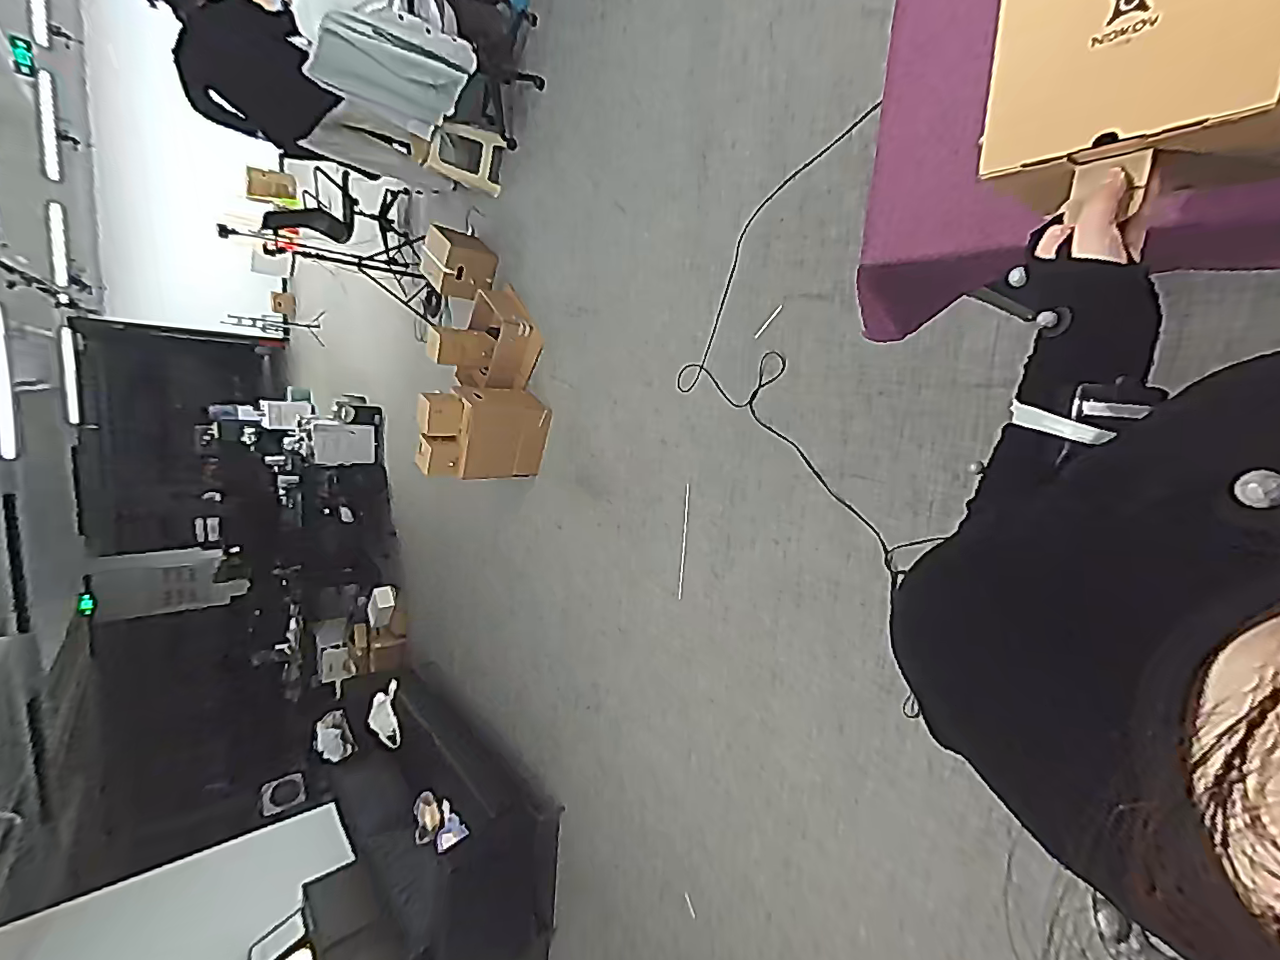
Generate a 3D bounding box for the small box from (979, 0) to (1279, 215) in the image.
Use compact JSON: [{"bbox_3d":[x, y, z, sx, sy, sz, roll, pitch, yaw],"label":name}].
[{"bbox_3d":[0.406,-0.335,0.434,0.168,0.176,0.179,15,108,51],"label":"small box"}]
